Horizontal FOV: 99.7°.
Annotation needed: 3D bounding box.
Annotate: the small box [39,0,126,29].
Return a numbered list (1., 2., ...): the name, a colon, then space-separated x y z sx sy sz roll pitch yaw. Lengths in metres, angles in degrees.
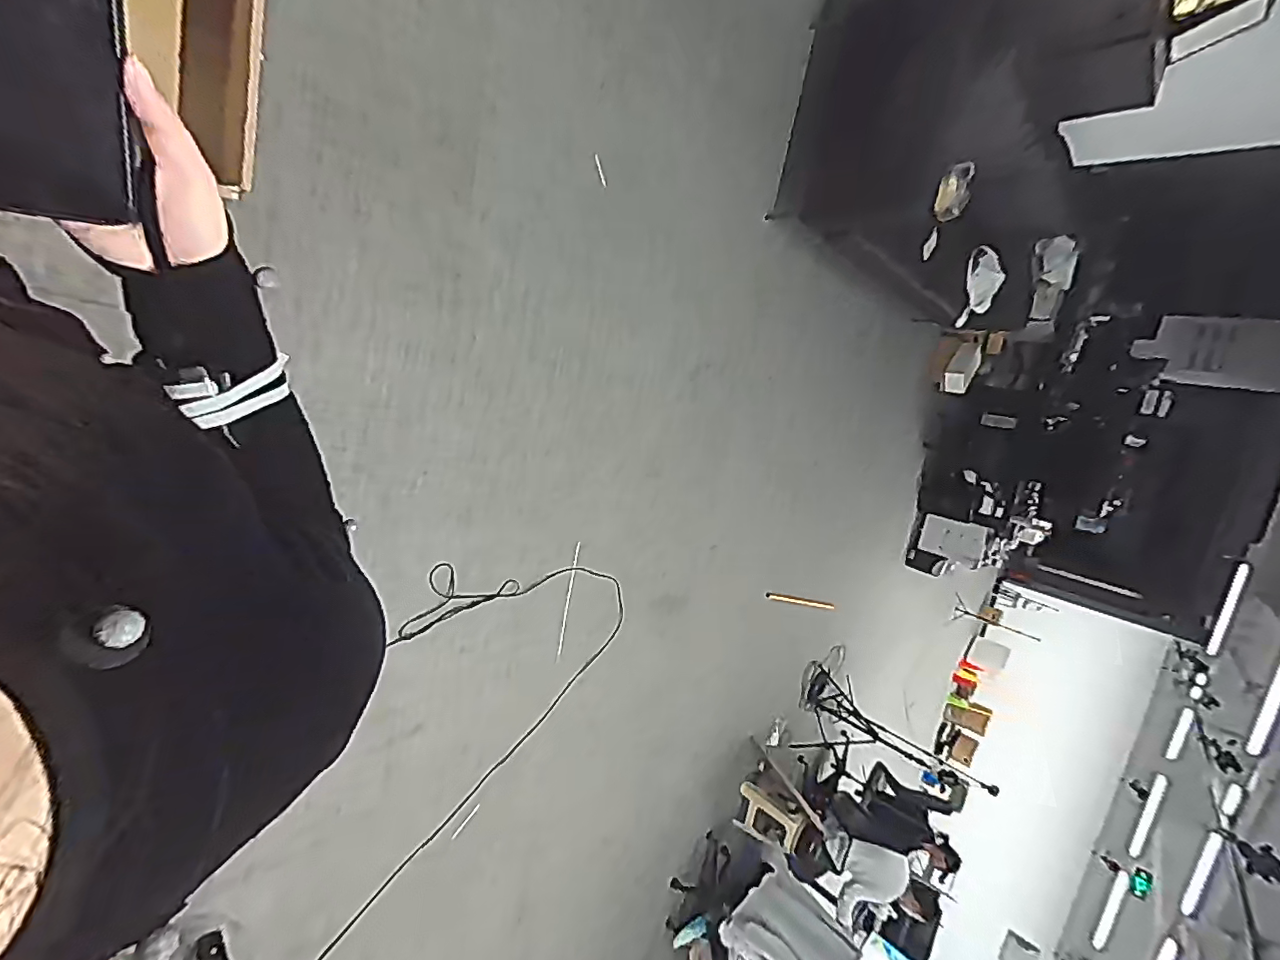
1. small box: -0.632 -0.618 0.547 0.168 0.176 0.179 1 105 -46
